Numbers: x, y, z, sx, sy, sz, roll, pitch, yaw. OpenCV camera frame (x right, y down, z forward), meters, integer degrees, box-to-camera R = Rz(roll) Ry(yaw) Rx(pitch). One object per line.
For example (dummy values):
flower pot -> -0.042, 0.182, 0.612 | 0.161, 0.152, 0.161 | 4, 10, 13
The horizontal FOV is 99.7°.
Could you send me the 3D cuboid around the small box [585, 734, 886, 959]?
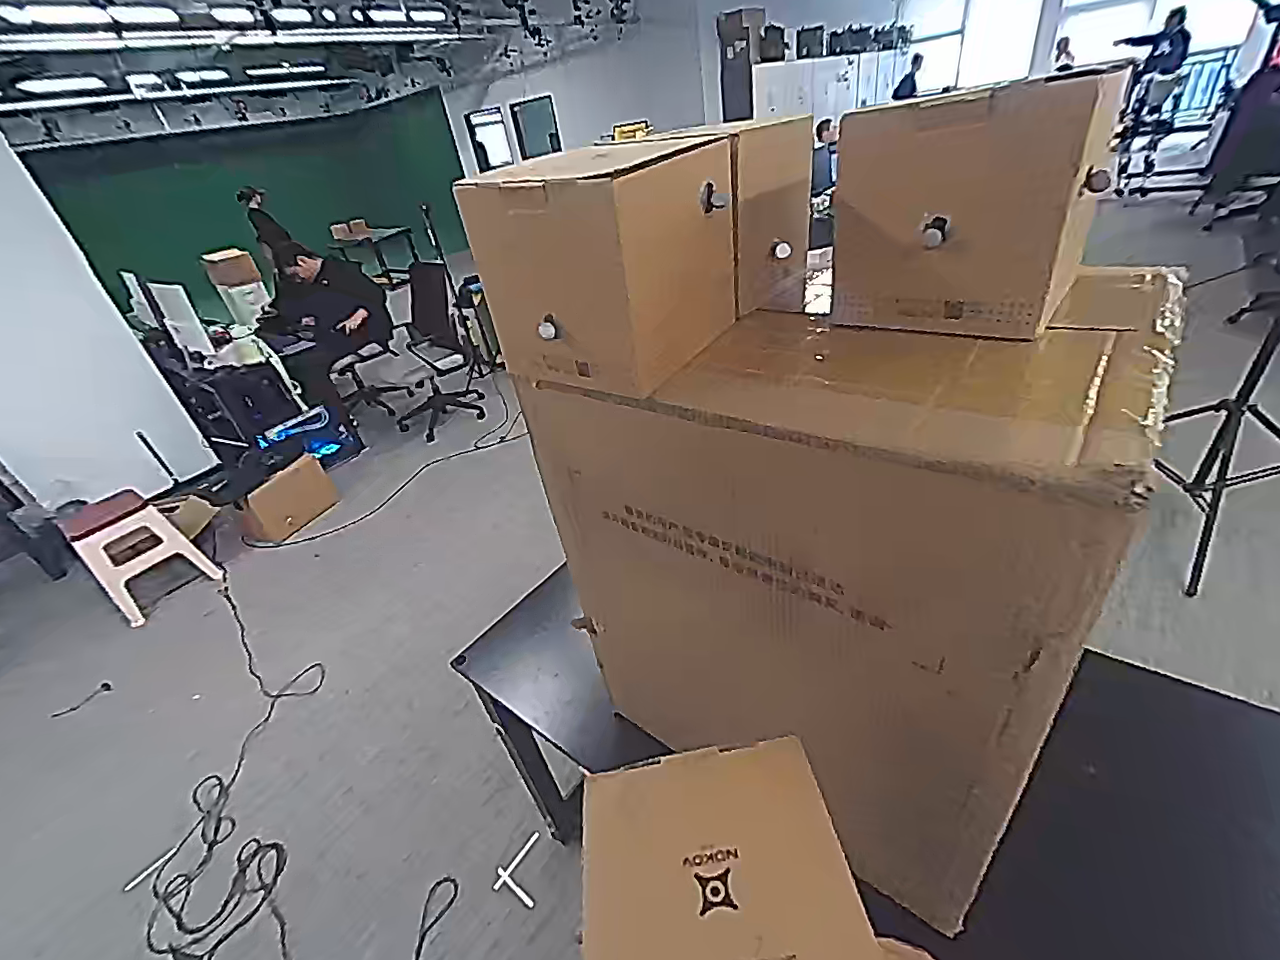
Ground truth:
small box -> 0.059, 0.313, 0.369 | 0.168, 0.176, 0.179 | -11, 29, 1
